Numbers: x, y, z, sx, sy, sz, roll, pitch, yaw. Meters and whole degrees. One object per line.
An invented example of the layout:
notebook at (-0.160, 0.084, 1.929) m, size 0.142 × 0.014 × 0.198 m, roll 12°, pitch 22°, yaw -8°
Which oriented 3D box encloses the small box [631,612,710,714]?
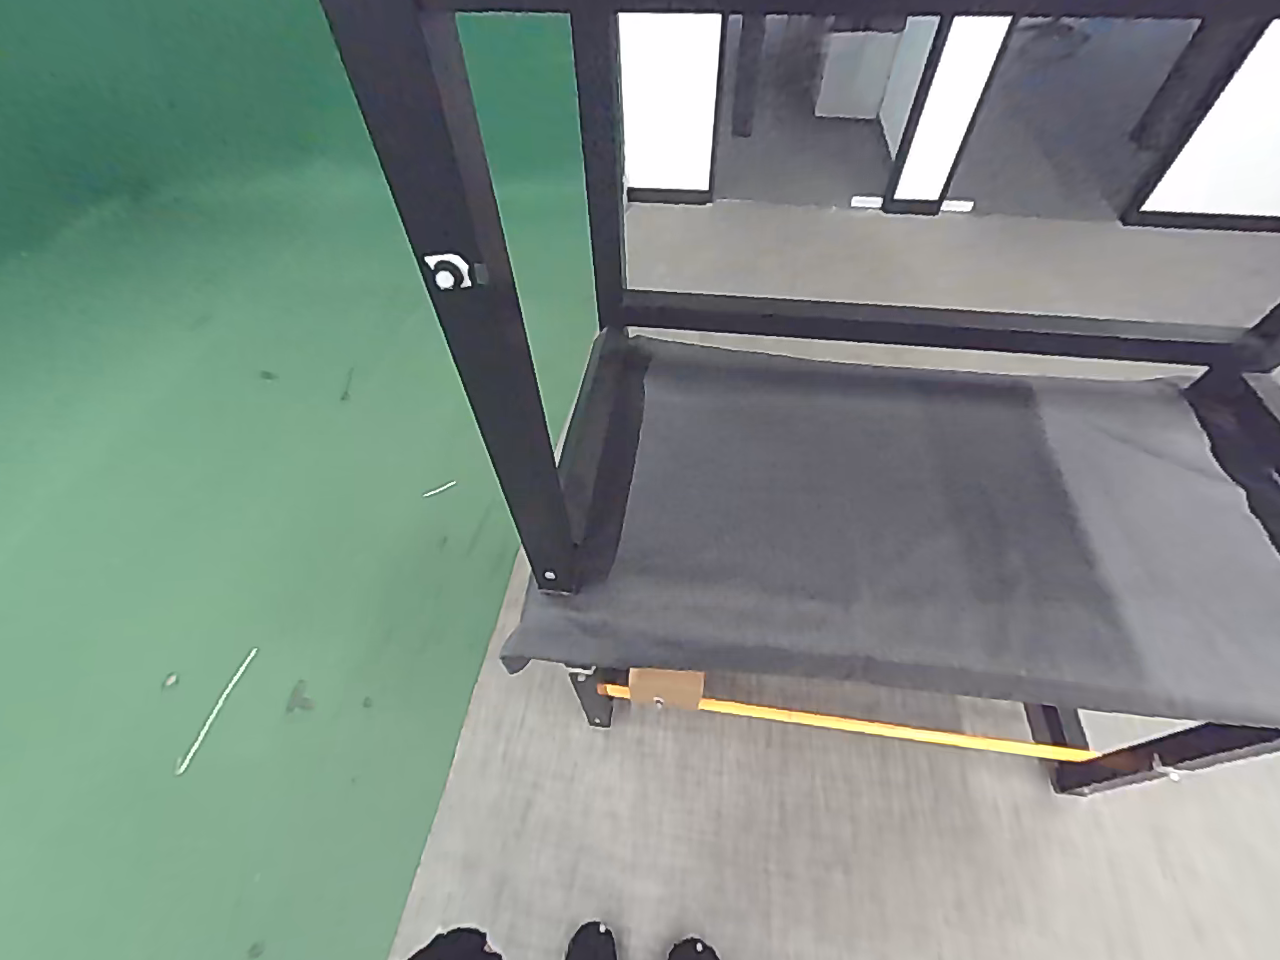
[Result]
small box at (0.071, 0.437, 1.284) m, size 0.168 × 0.176 × 0.179 m, roll 5°, pitch 54°, yaw 5°
